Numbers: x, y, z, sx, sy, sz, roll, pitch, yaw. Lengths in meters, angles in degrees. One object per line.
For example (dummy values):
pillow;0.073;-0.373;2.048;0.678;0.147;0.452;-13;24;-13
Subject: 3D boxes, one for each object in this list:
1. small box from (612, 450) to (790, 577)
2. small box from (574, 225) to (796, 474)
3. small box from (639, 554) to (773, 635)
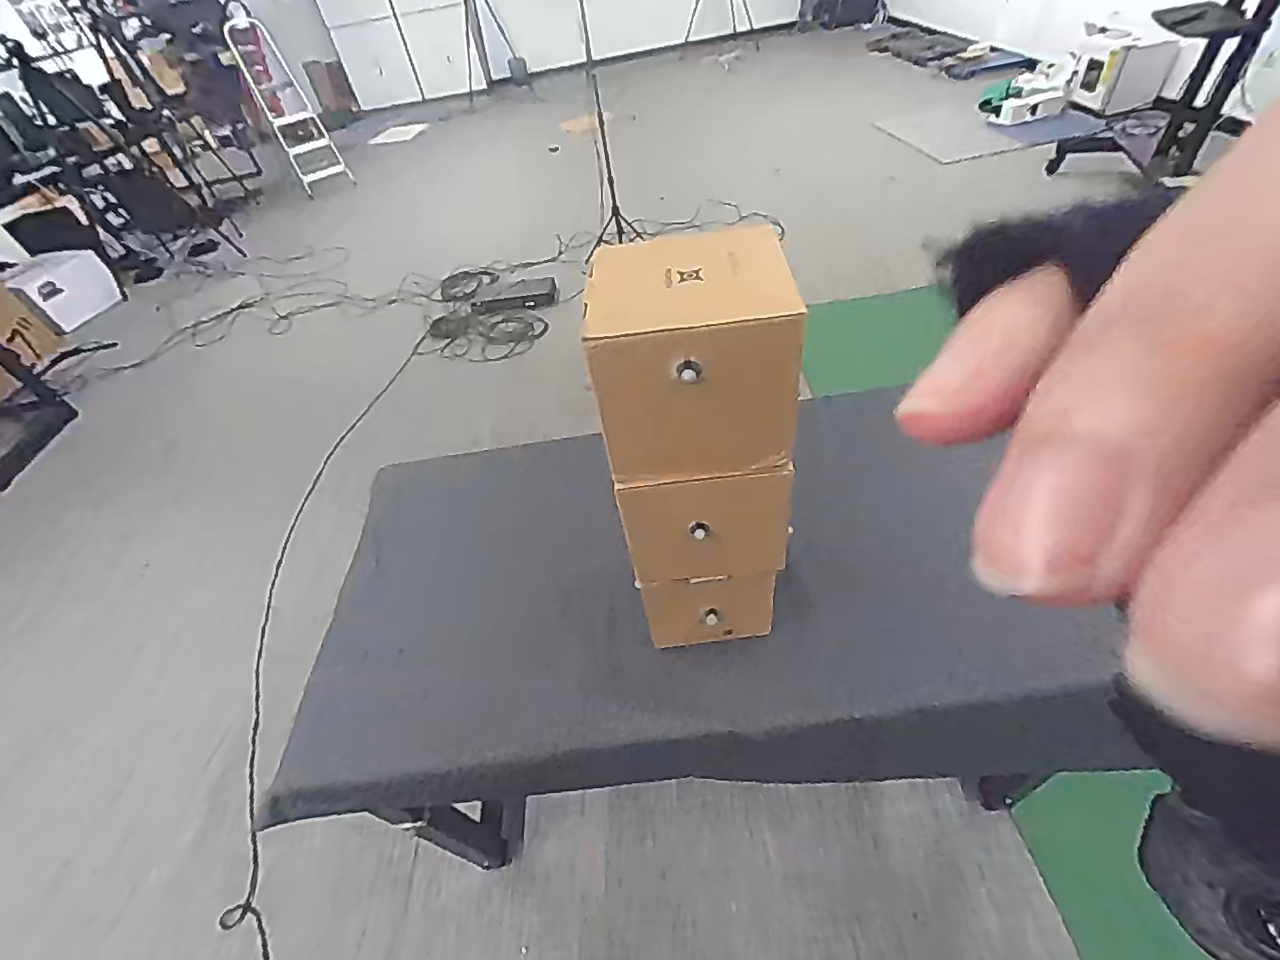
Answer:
small box;0.069;-0.004;0.636;0.179;0.176;0.168;-8;46;6
small box;0.045;-0.120;0.526;0.179;0.176;0.168;-6;47;5
small box;0.087;0.103;0.760;0.168;0.176;0.179;-10;46;3
